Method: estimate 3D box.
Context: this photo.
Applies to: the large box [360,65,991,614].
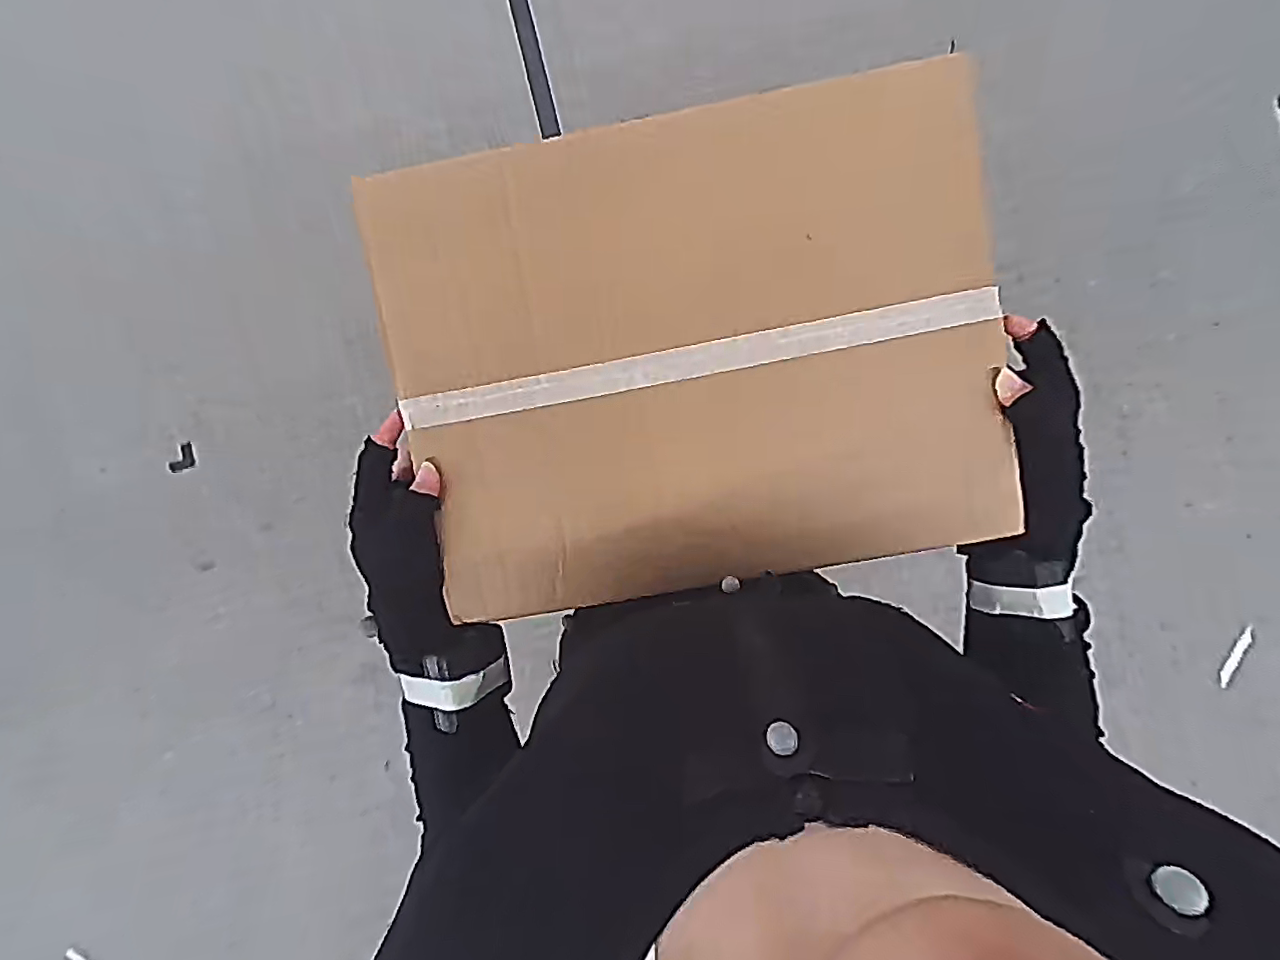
[{"bbox_3d":[0.034,-0.104,0.523,0.408,0.320,0.320,-10,96,3],"label":"large box"}]
